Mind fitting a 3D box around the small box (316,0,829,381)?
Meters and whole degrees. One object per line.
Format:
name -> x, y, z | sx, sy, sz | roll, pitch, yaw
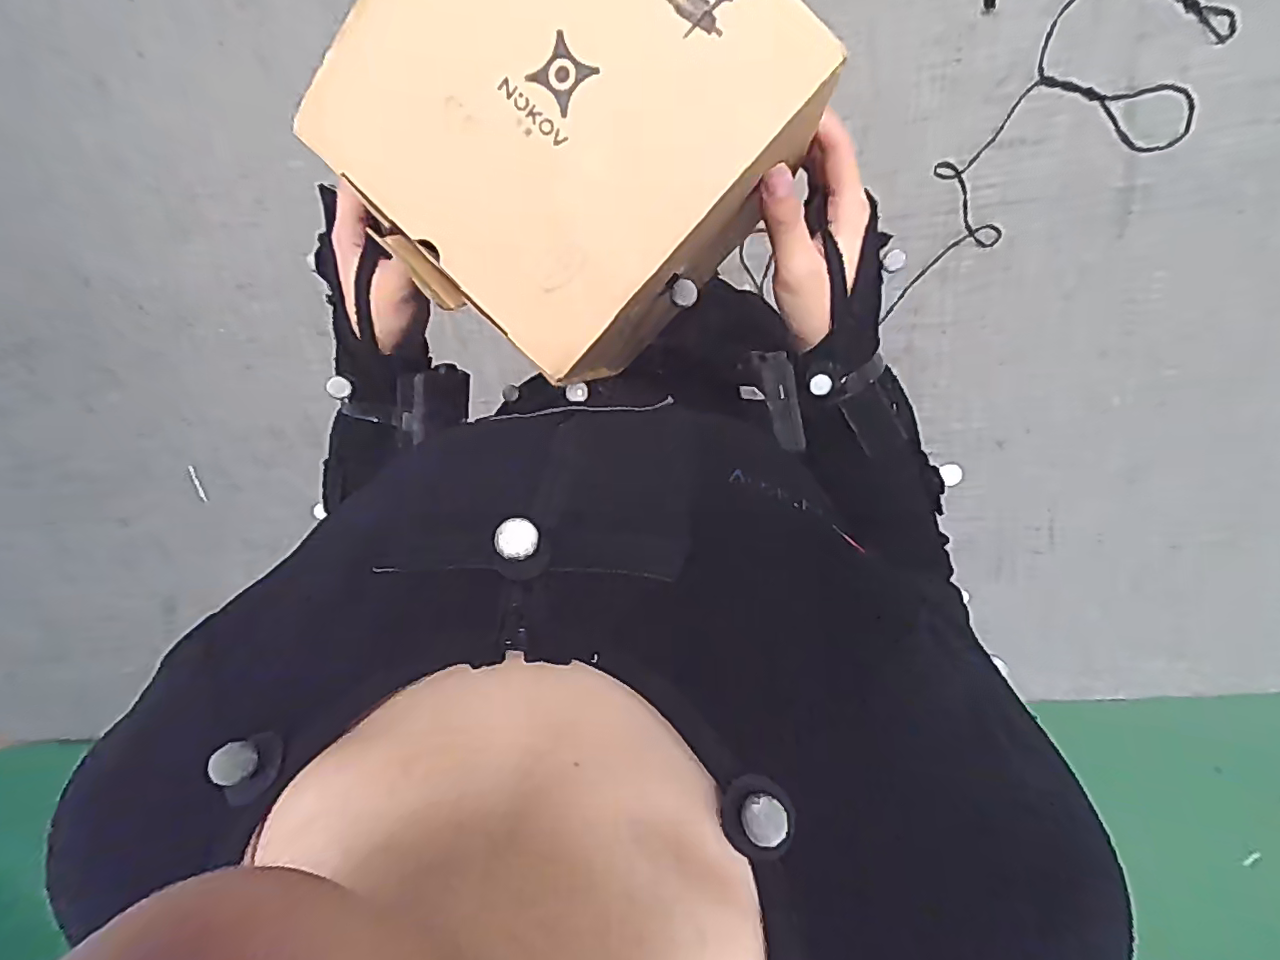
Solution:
small box -> -0.025, -0.176, 0.310 | 0.168, 0.176, 0.179 | 44, 105, -3
